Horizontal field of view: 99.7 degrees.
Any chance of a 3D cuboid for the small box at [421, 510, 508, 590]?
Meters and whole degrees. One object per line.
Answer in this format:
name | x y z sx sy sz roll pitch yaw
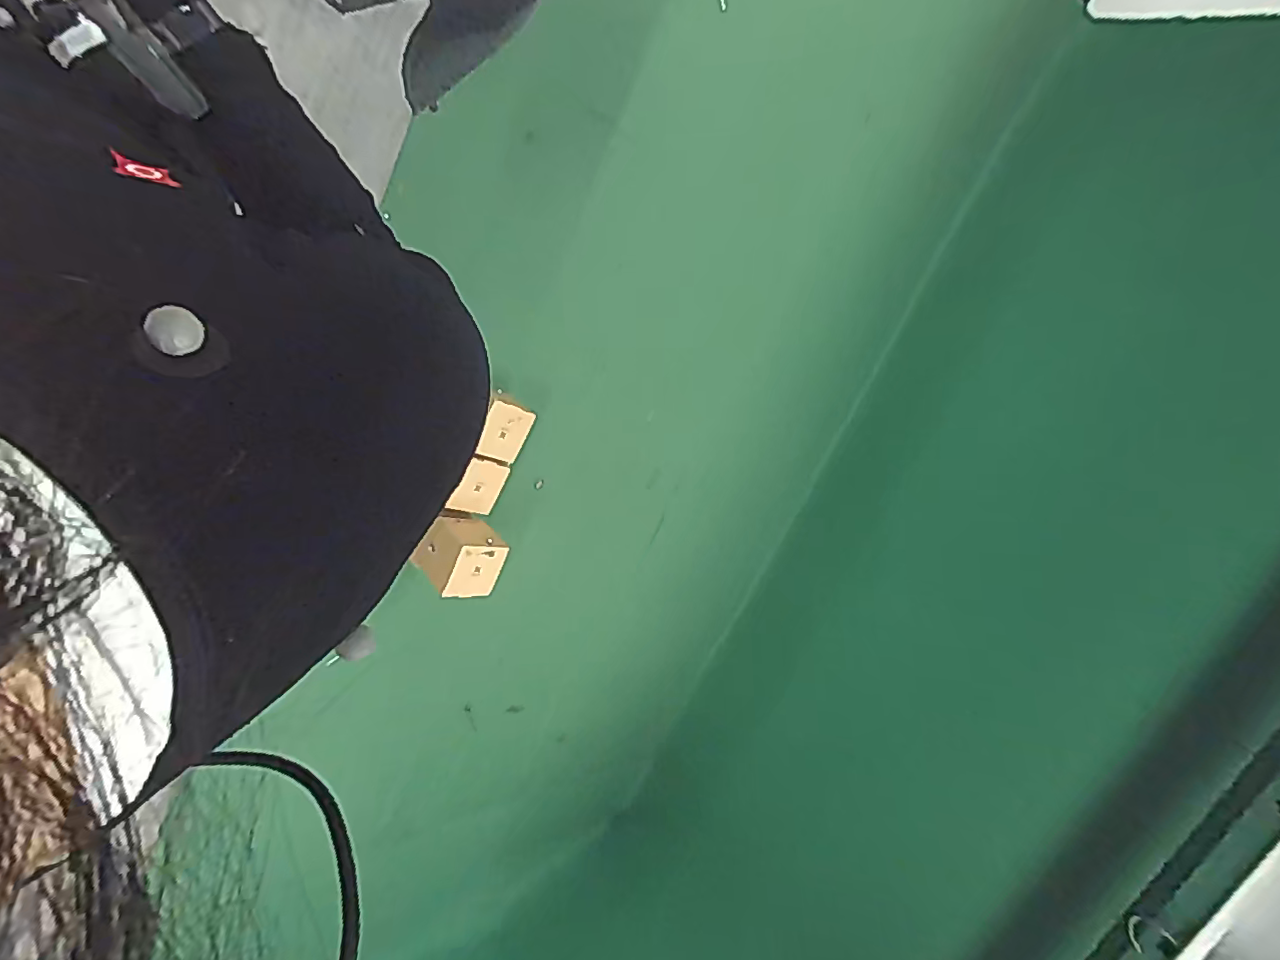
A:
small box | -0.540 0.214 1.642 0.168 0.176 0.179 13 109 -51
